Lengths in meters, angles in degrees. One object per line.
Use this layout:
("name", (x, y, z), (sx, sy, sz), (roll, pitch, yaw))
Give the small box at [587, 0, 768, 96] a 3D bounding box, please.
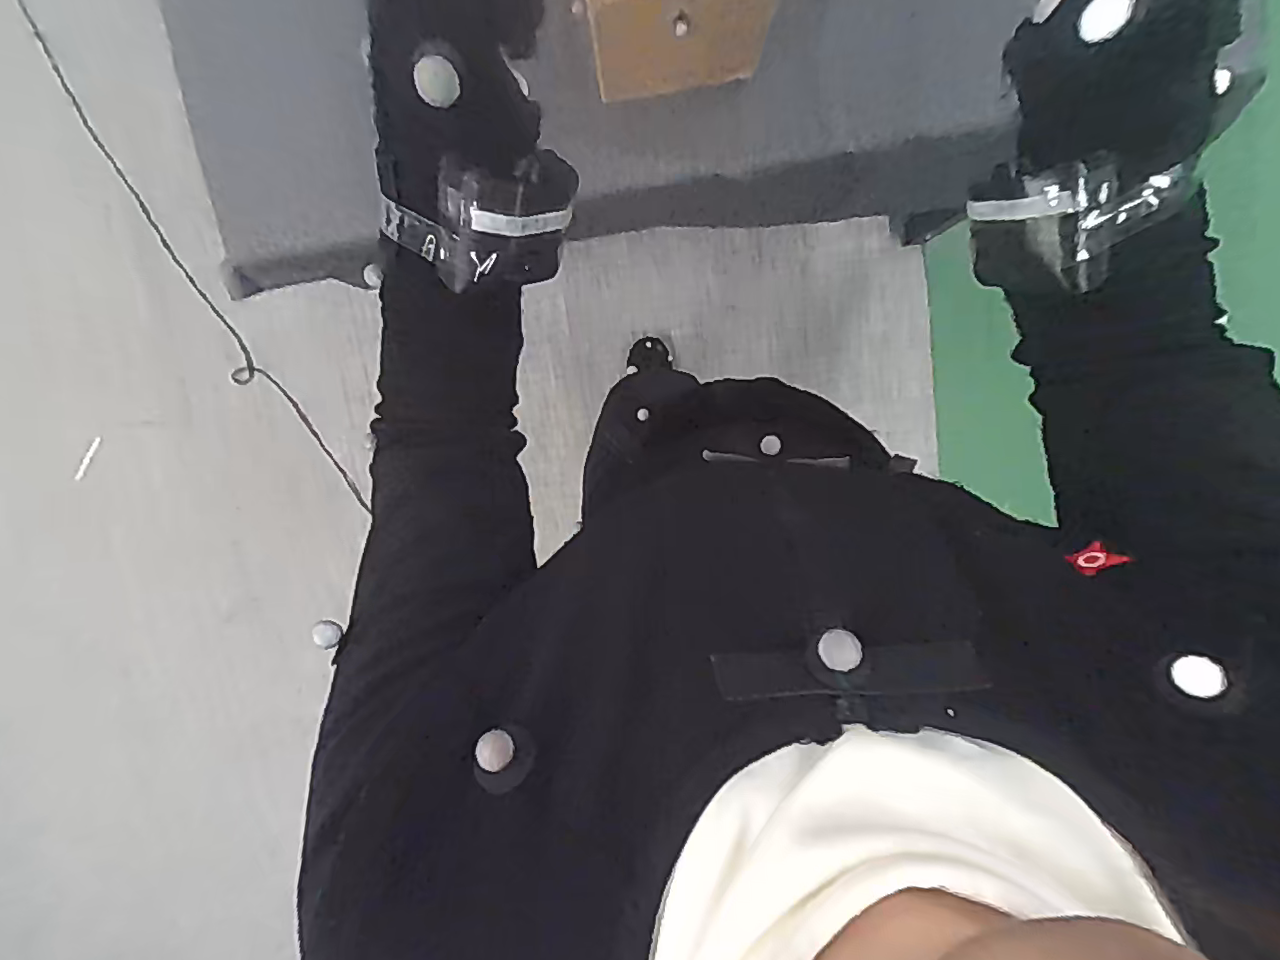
("small box", (0.030, -0.513, 0.529), (0.179, 0.176, 0.168), (-8, 100, 2))
